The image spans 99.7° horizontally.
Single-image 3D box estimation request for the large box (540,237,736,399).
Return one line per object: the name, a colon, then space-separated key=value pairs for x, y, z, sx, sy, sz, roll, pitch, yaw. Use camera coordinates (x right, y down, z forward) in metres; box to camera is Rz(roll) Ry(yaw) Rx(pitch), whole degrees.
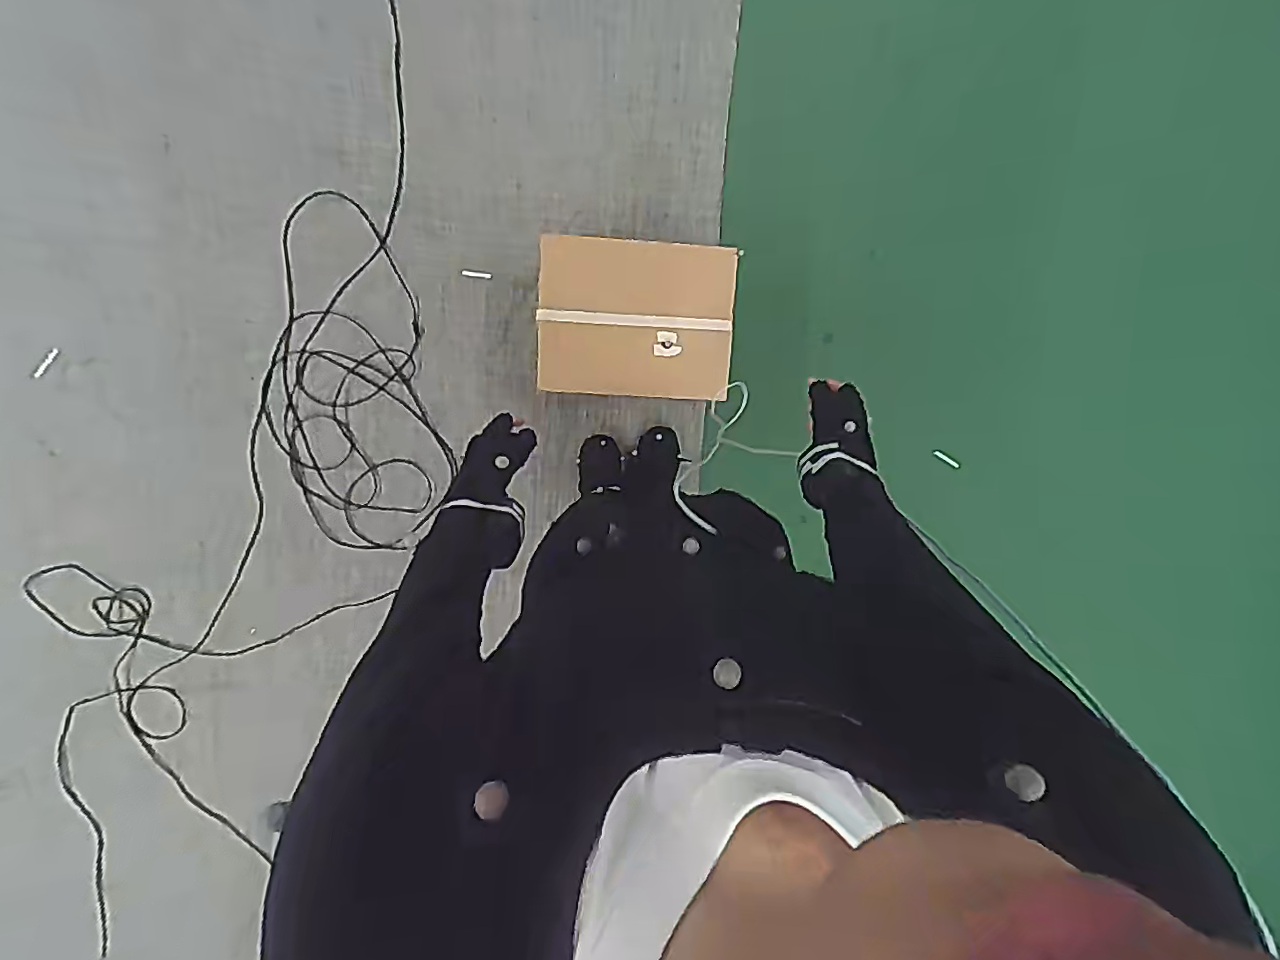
large box: x=-0.017 y=-0.352 z=1.266 sx=0.408 sy=0.320 sz=0.320 roll=3 pitch=99 yaw=-4
